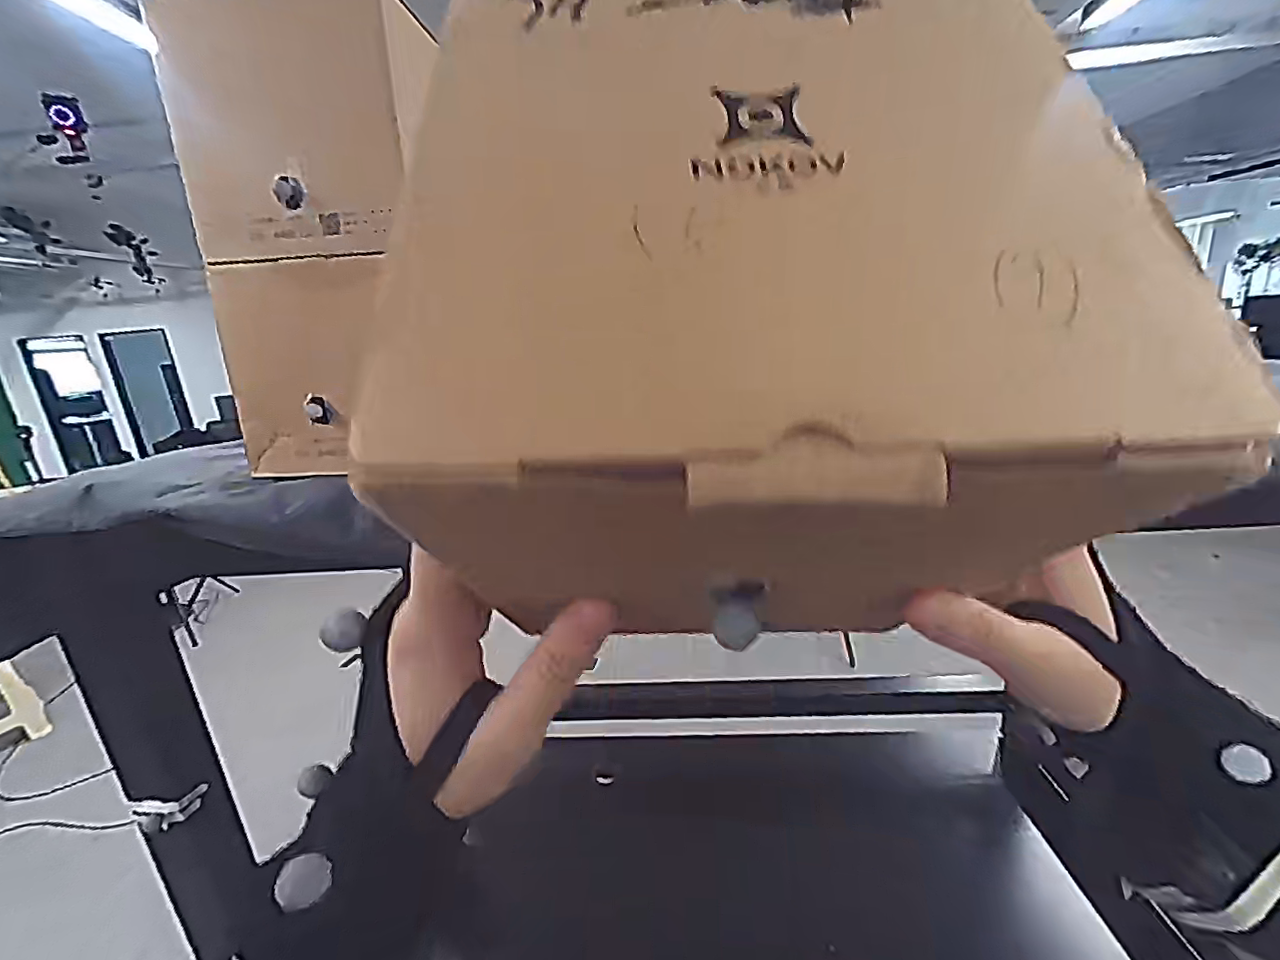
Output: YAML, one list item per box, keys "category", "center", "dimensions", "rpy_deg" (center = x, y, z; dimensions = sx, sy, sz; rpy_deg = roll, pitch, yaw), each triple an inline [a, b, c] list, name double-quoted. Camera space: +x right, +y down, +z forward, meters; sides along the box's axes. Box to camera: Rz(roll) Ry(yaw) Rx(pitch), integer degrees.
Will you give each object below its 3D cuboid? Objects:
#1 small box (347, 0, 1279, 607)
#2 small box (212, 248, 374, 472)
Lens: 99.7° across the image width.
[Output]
- category: "small box"
  center: [0.030, -0.053, 0.198]
  dimensions: [0.168, 0.179, 0.176]
  rpy_deg: [-1, -25, -1]
- category: "small box"
  center: [-0.229, -0.105, 0.492]
  dimensions: [0.168, 0.176, 0.179]
  rpy_deg: [-3, 15, 4]
